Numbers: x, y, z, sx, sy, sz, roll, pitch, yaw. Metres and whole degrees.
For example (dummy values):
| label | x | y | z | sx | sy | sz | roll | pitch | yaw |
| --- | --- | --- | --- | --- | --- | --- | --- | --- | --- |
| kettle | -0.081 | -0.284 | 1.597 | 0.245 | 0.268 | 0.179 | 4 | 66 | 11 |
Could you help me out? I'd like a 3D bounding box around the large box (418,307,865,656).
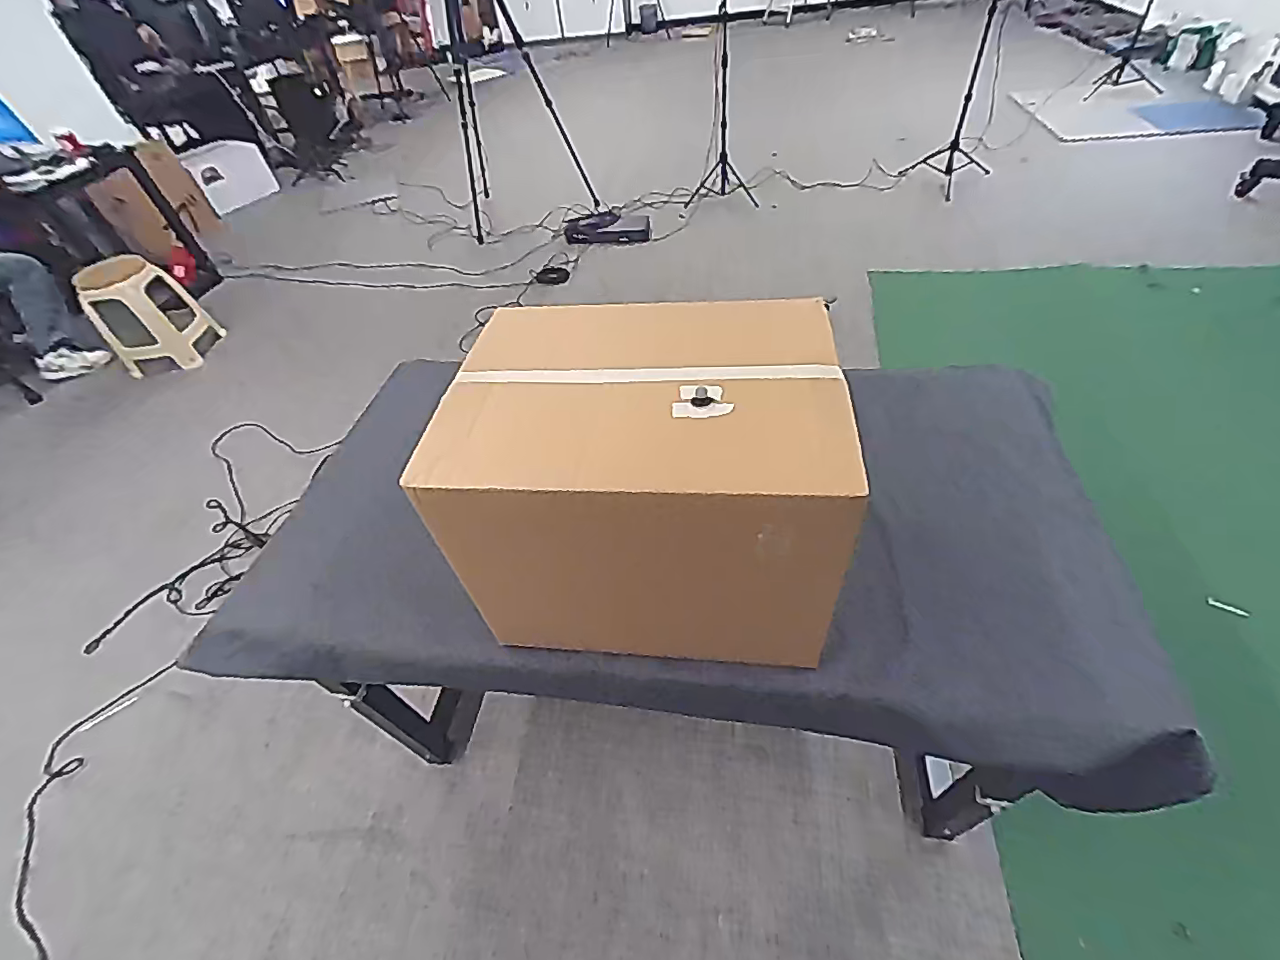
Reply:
| label | x | y | z | sx | sy | sz | roll | pitch | yaw |
| --- | --- | --- | --- | --- | --- | --- | --- | --- | --- |
| large box | 0.016 | 0.002 | 0.677 | 0.408 | 0.320 | 0.320 | 1 | 47 | 8 |
